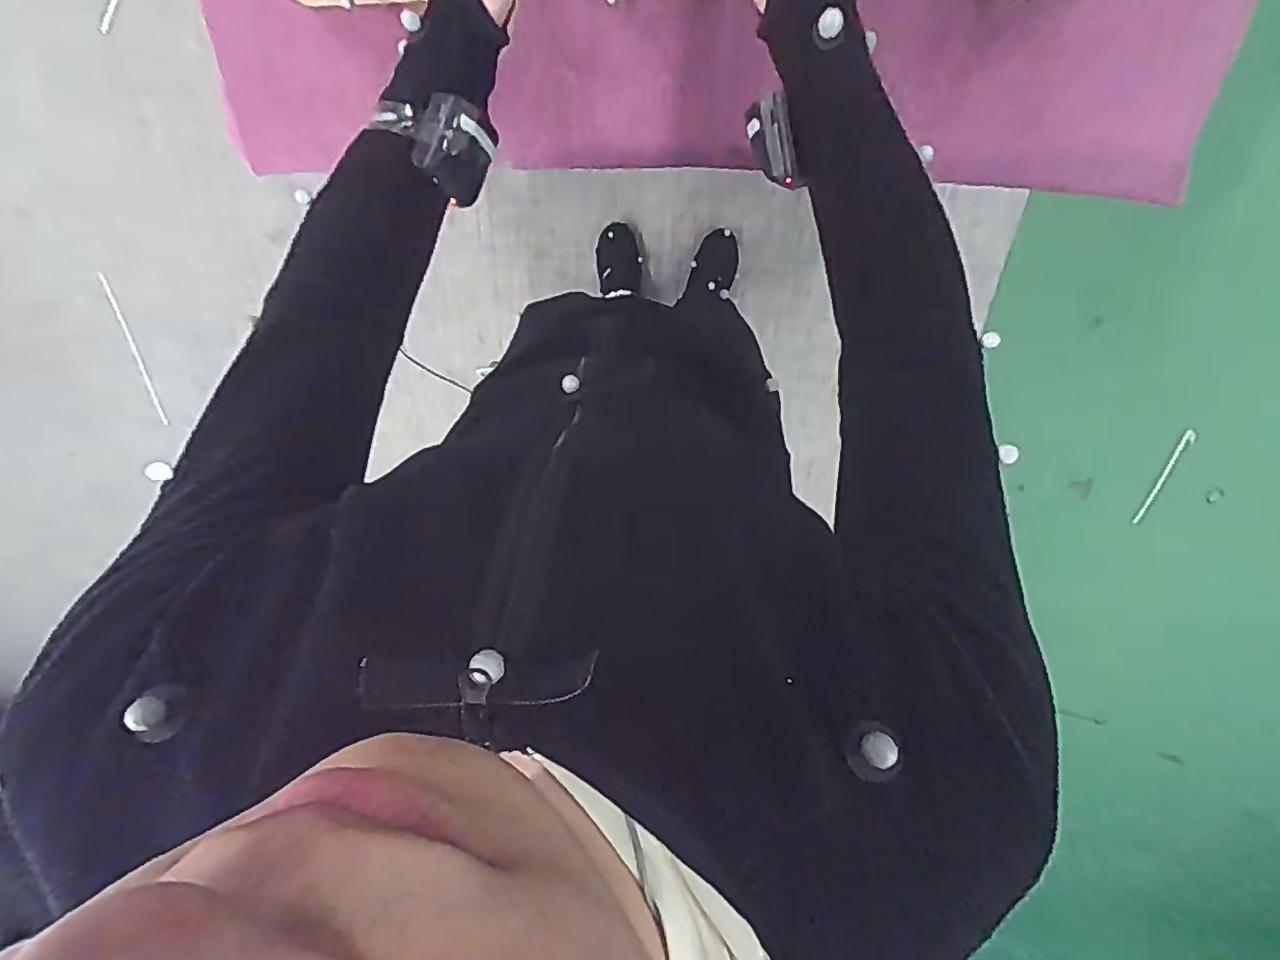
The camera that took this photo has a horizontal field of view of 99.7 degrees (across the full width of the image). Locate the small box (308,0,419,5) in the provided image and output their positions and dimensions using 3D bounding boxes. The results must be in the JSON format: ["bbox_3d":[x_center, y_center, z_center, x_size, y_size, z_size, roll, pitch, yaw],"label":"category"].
[{"bbox_3d":[-0.337,-0.614,0.539,0.168,0.176,0.179,2,119,5],"label":"small box"}]

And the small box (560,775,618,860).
[{"bbox_3d":[-0.169,1.135,1.823,0.168,0.176,0.179,7,118,3],"label":"small box"}]
